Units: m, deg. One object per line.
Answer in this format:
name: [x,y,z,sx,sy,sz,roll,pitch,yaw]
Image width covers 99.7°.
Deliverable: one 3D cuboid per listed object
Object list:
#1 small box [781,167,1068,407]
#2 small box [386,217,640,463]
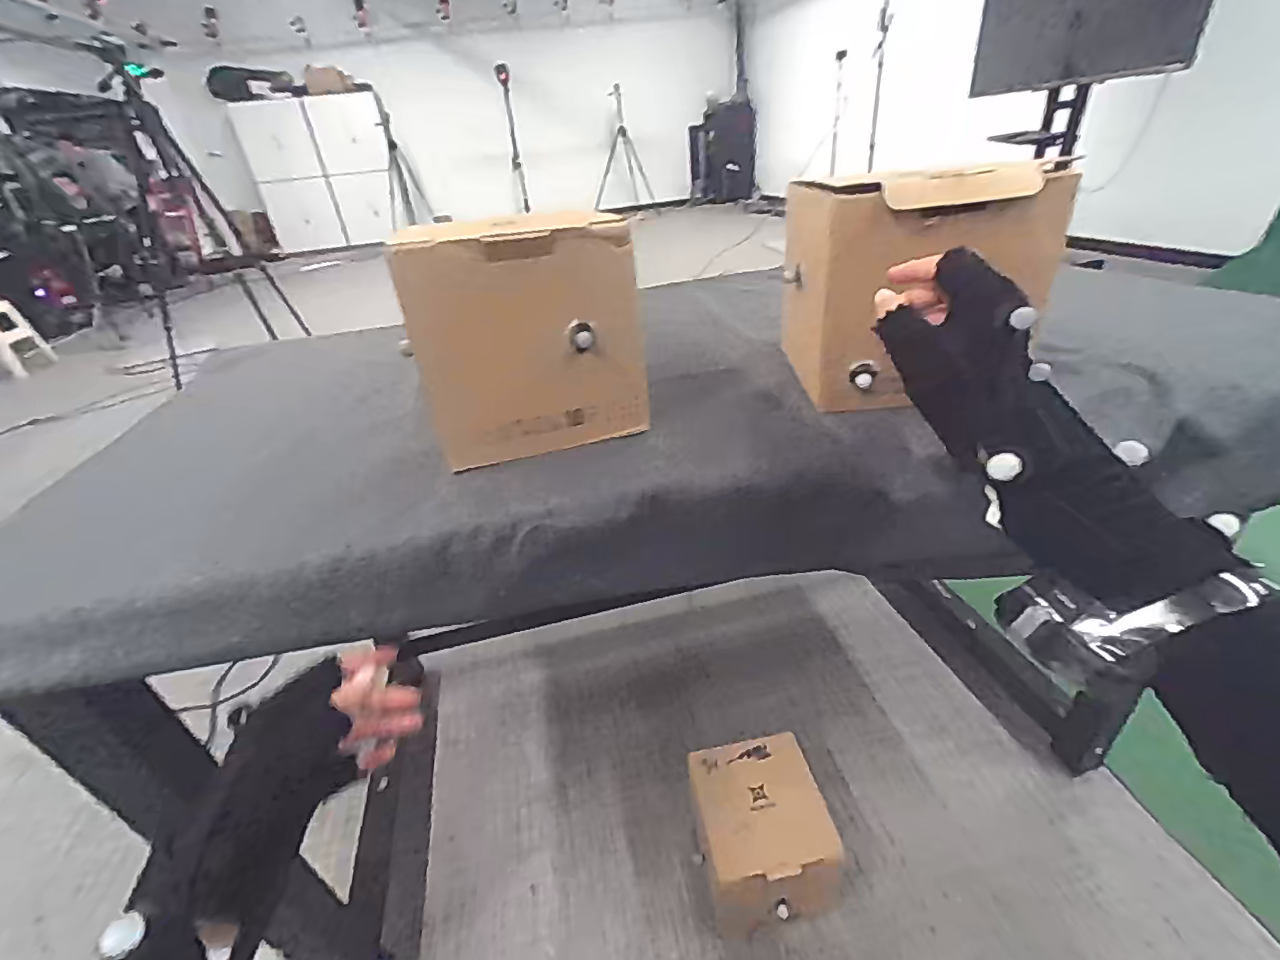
small box: [0.224,-0.171,0.484,0.168,0.176,0.179,-3,30,5]
small box: [-0.103,-0.125,0.473,0.168,0.176,0.179,-12,29,-13]
